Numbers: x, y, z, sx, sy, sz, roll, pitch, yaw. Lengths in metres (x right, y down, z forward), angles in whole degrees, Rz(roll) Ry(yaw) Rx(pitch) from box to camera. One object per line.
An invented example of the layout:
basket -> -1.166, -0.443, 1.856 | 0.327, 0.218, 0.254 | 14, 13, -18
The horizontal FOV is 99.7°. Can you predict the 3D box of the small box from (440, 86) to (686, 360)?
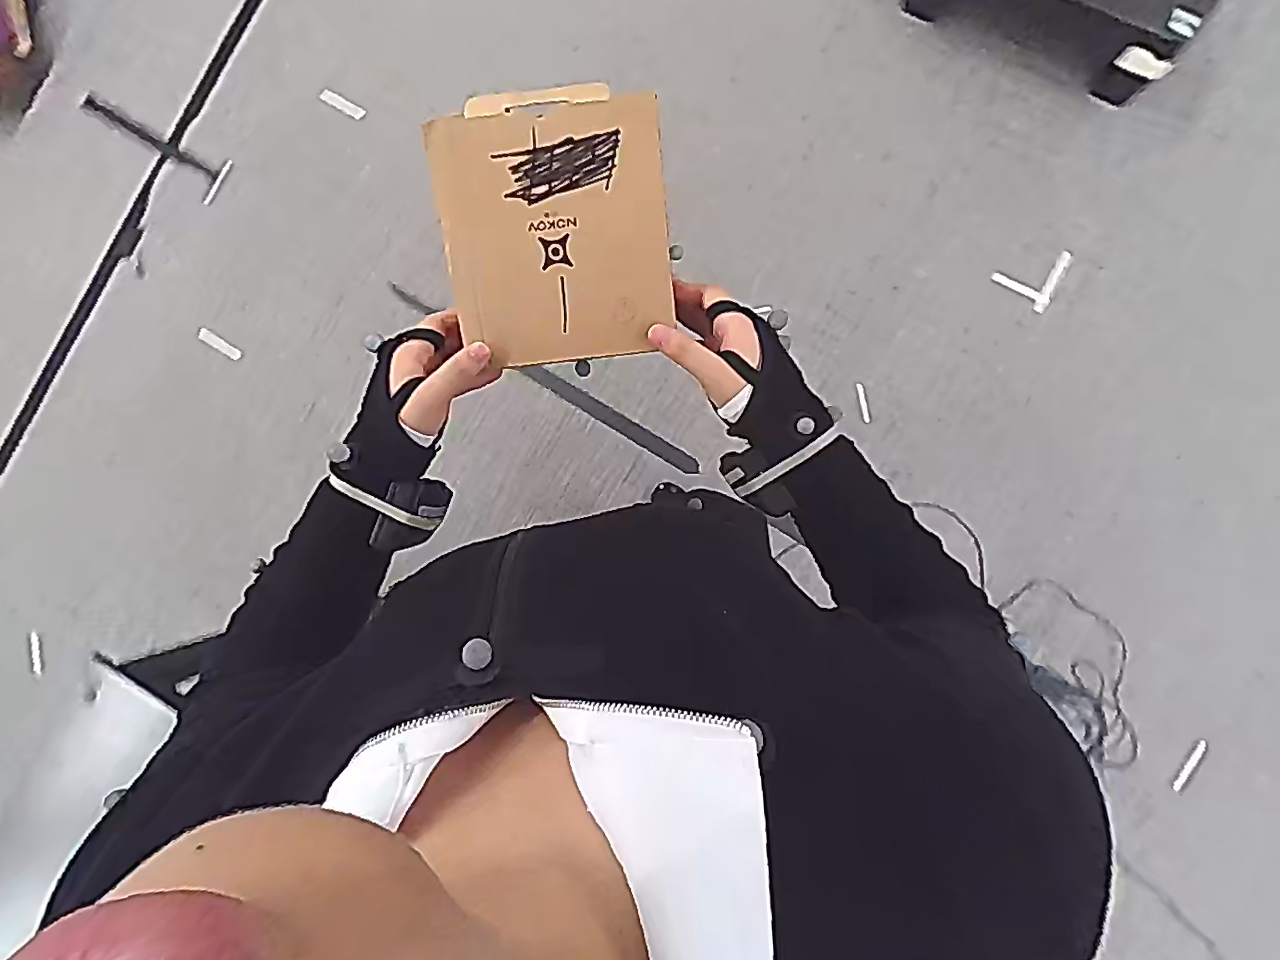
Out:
small box -> -0.052, -0.199, 0.470 | 0.168, 0.176, 0.179 | -5, 104, 2
